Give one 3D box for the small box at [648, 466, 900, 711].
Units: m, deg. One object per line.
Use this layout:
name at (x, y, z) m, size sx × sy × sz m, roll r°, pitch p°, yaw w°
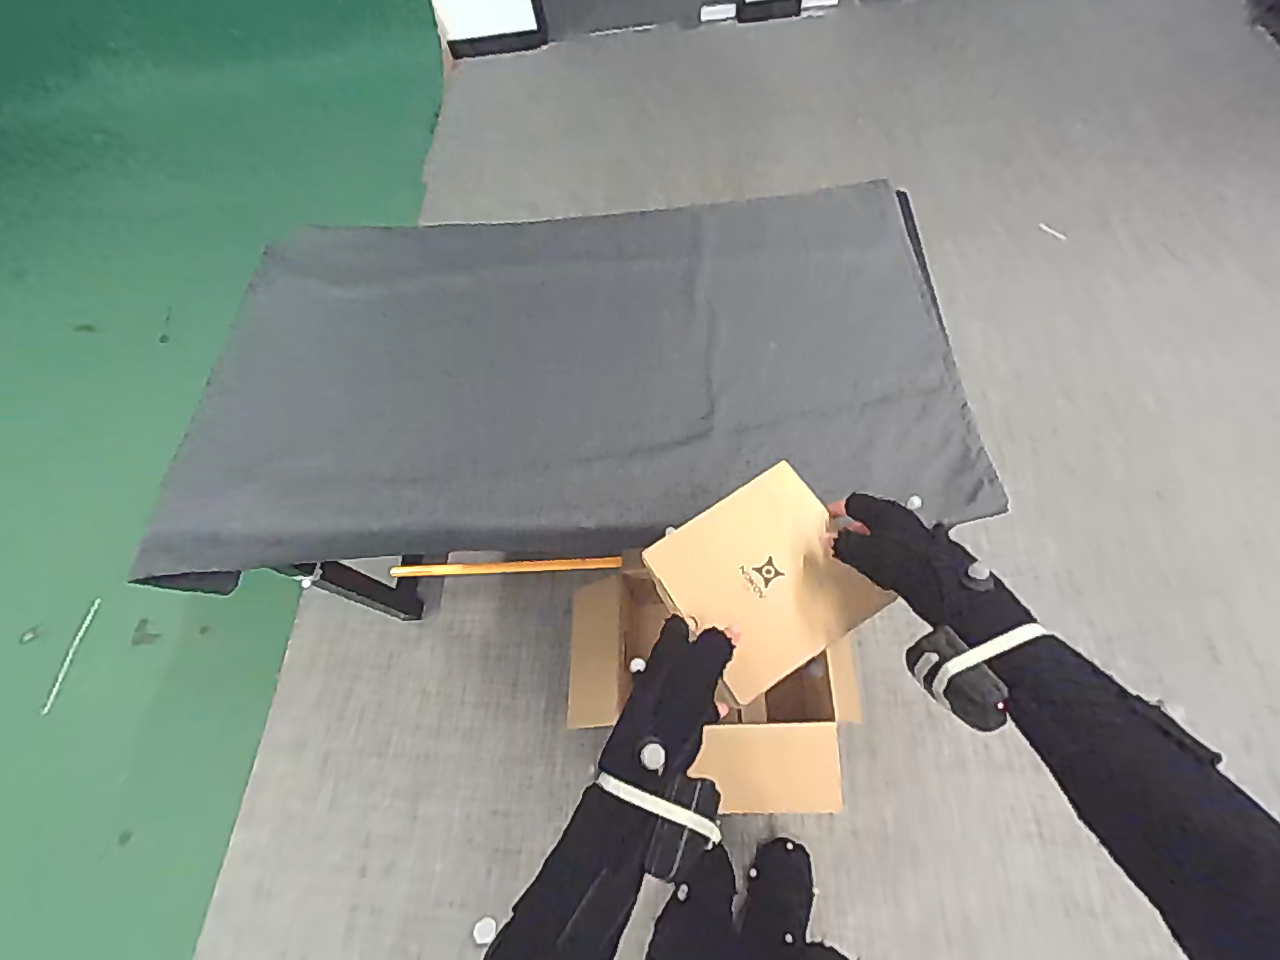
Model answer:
small box at (0.129, 0.120, 0.574) m, size 0.179 × 0.176 × 0.168 m, roll -33°, pitch 67°, yaw -5°
